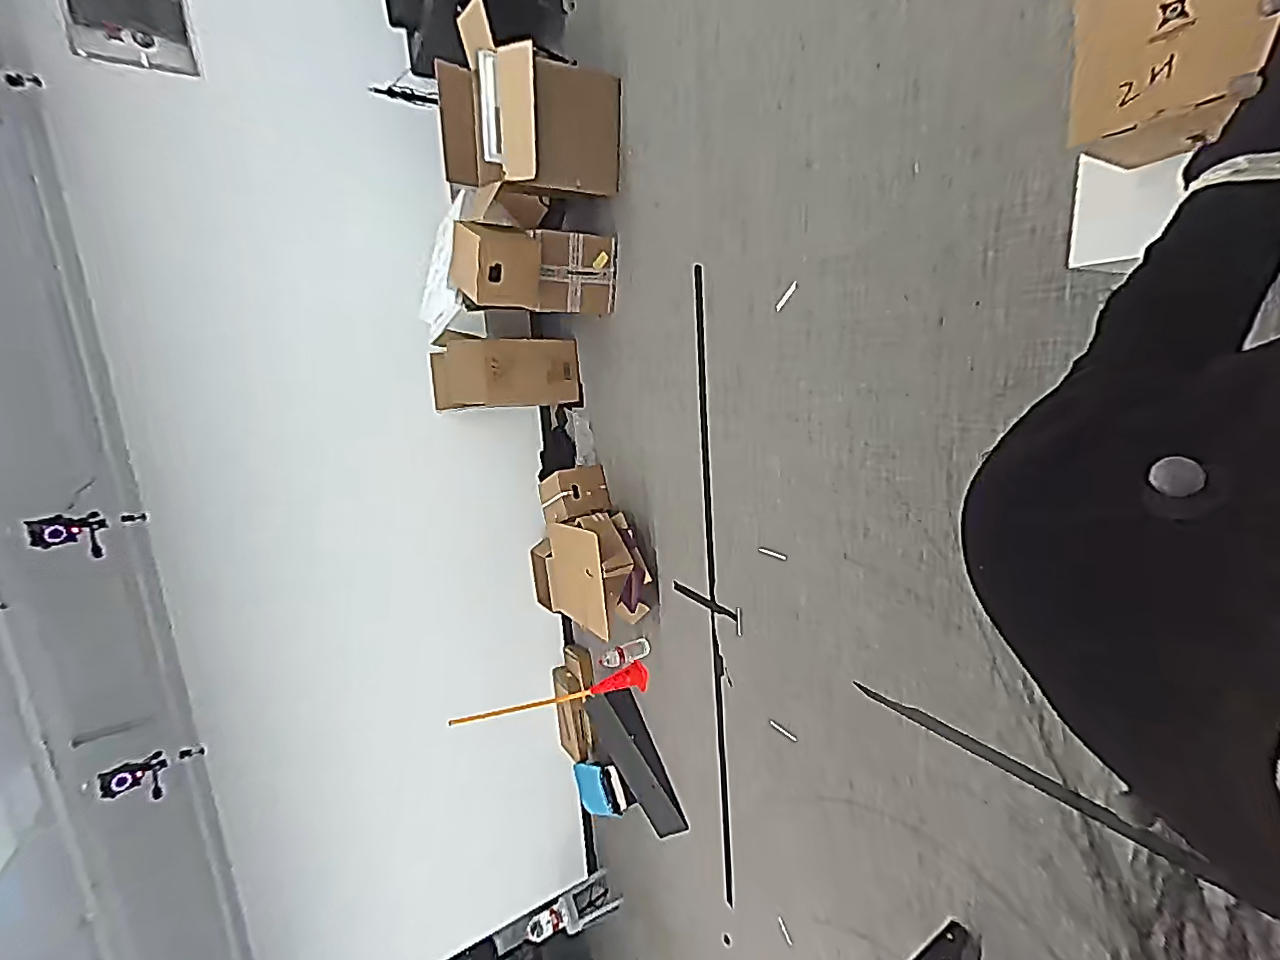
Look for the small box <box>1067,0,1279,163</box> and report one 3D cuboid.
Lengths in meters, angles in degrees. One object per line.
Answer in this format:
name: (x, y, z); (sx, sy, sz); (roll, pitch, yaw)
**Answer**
small box: (0.590, -0.465, 0.569); (0.168, 0.176, 0.179); (12, 109, 58)
